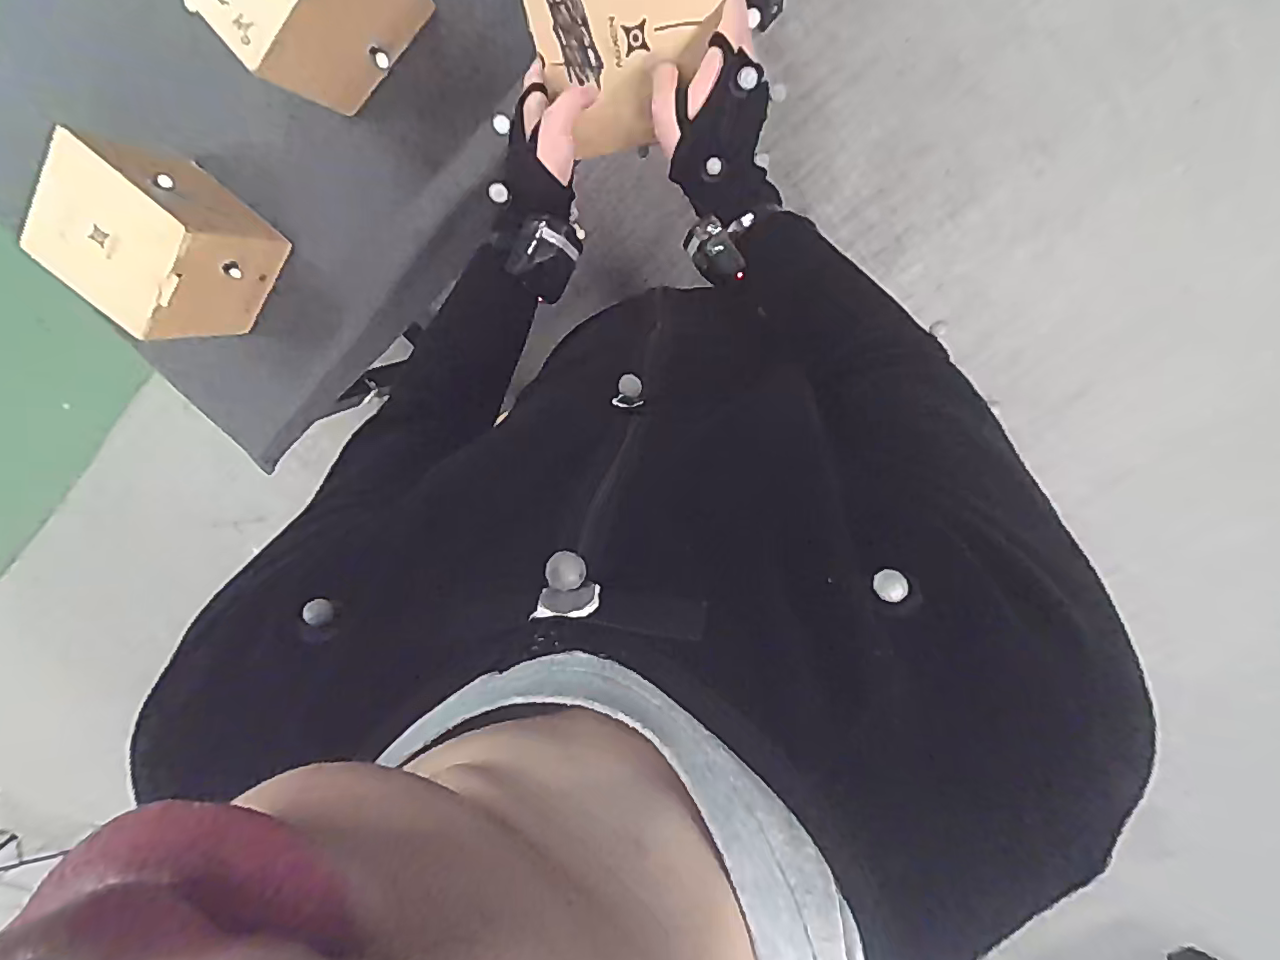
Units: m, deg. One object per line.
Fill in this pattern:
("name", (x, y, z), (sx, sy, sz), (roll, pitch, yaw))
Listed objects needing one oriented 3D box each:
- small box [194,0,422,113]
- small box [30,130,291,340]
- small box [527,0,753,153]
("small box", (-0.371, -0.556, 0.591), (0.179, 0.176, 0.168), (-37, 101, 18))
("small box", (-0.618, -0.311, 0.718), (0.179, 0.176, 0.168), (40, 109, -5))
("small box", (0.011, -0.435, 0.523), (0.179, 0.176, 0.168), (-1, 128, 17))
